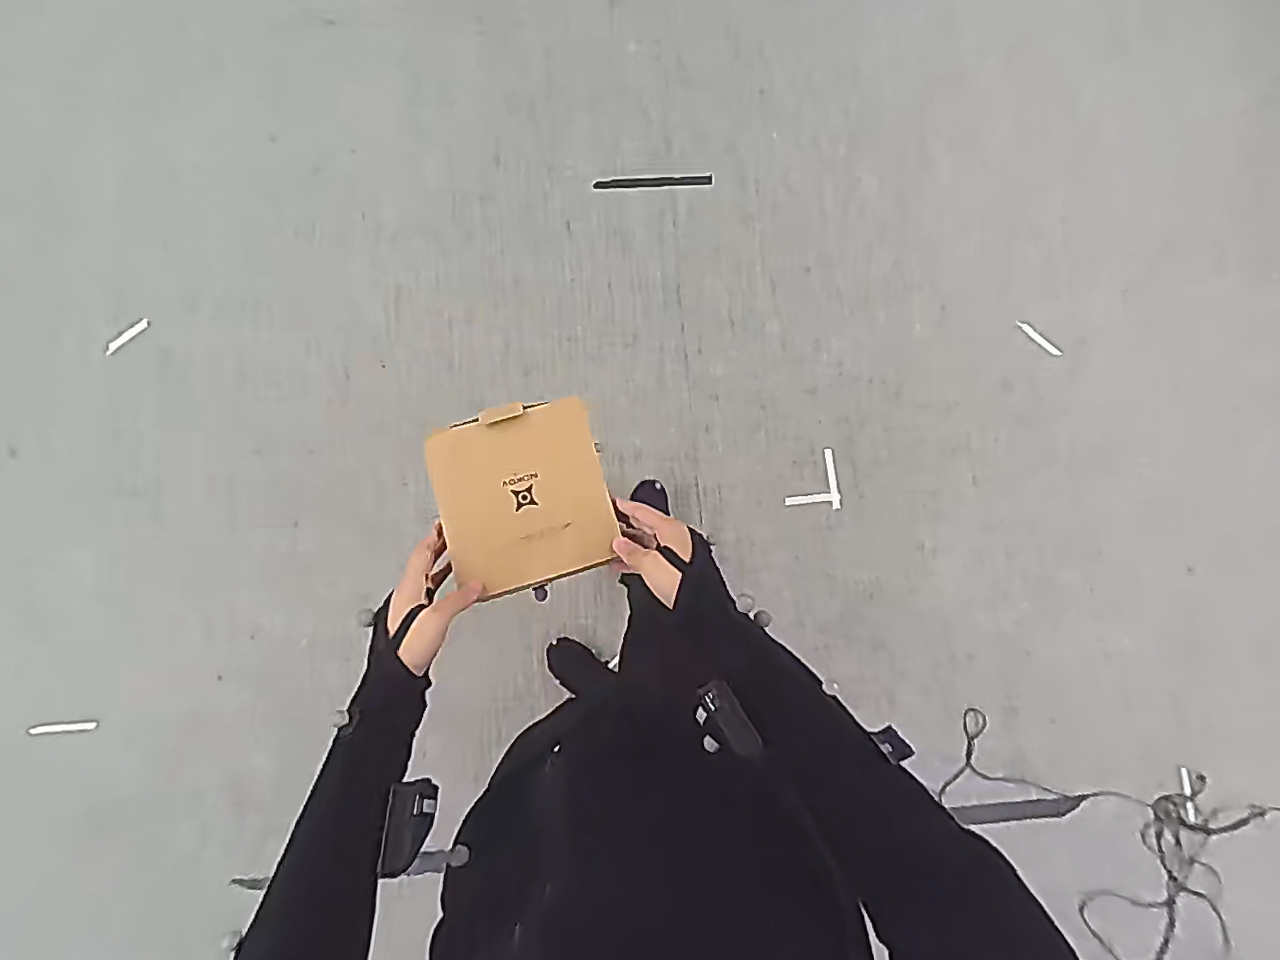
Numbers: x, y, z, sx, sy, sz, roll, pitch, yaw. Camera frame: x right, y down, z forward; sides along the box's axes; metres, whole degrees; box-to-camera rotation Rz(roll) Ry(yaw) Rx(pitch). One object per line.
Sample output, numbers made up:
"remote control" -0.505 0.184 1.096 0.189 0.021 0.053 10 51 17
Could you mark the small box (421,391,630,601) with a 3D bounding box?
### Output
"small box" -0.121 0.027 0.597 0.168 0.176 0.179 -16 80 -10
